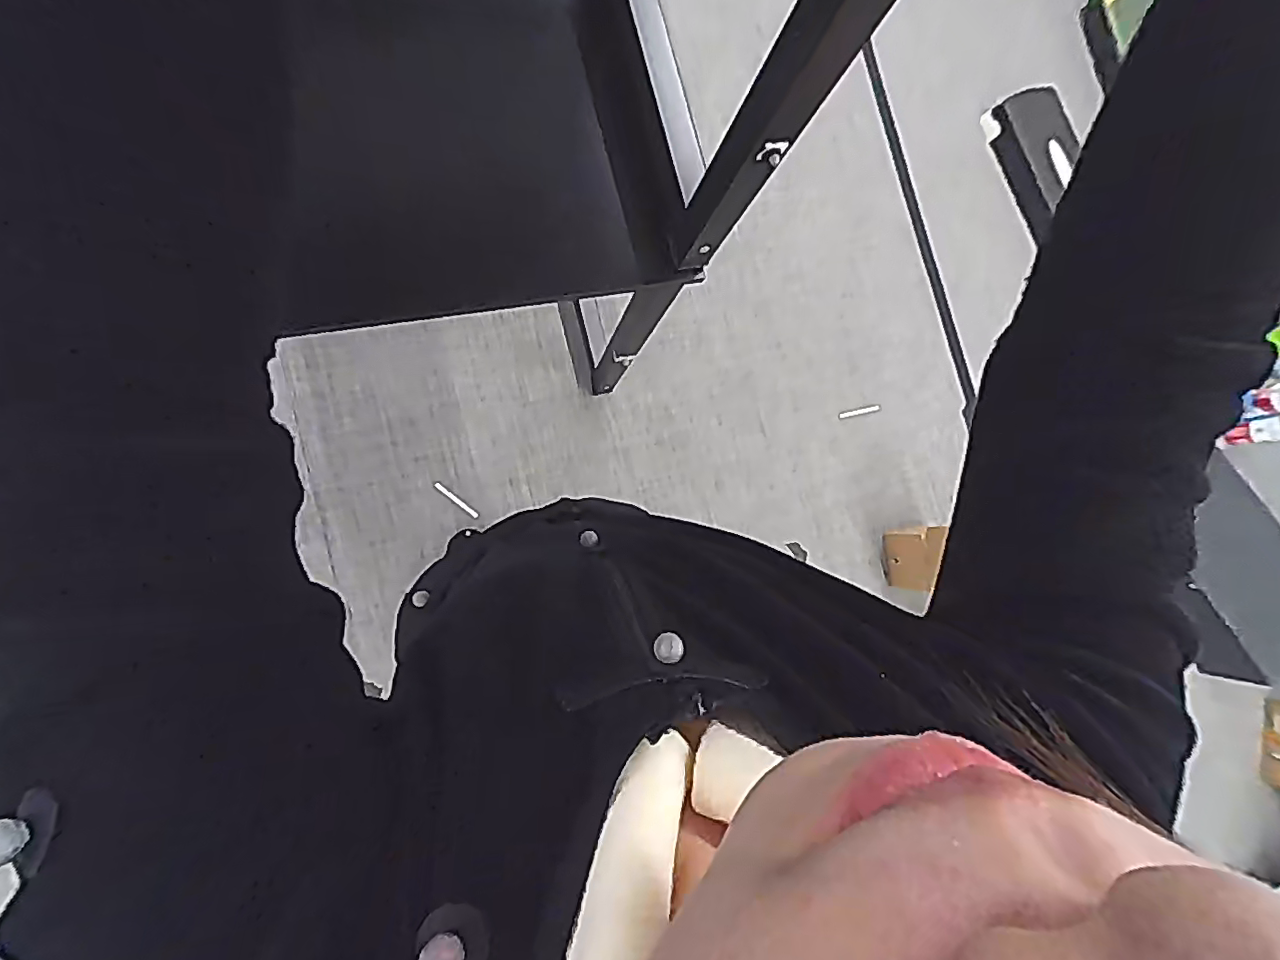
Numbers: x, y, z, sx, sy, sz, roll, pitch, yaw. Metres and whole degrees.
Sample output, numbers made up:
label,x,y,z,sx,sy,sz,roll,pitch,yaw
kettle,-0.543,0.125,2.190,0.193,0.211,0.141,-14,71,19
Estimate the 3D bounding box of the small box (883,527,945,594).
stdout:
label,x,y,z,sx,sy,sz,roll,pitch,yaw
small box,0.878,0.241,1.658,0.168,0.176,0.179,-8,87,-15
